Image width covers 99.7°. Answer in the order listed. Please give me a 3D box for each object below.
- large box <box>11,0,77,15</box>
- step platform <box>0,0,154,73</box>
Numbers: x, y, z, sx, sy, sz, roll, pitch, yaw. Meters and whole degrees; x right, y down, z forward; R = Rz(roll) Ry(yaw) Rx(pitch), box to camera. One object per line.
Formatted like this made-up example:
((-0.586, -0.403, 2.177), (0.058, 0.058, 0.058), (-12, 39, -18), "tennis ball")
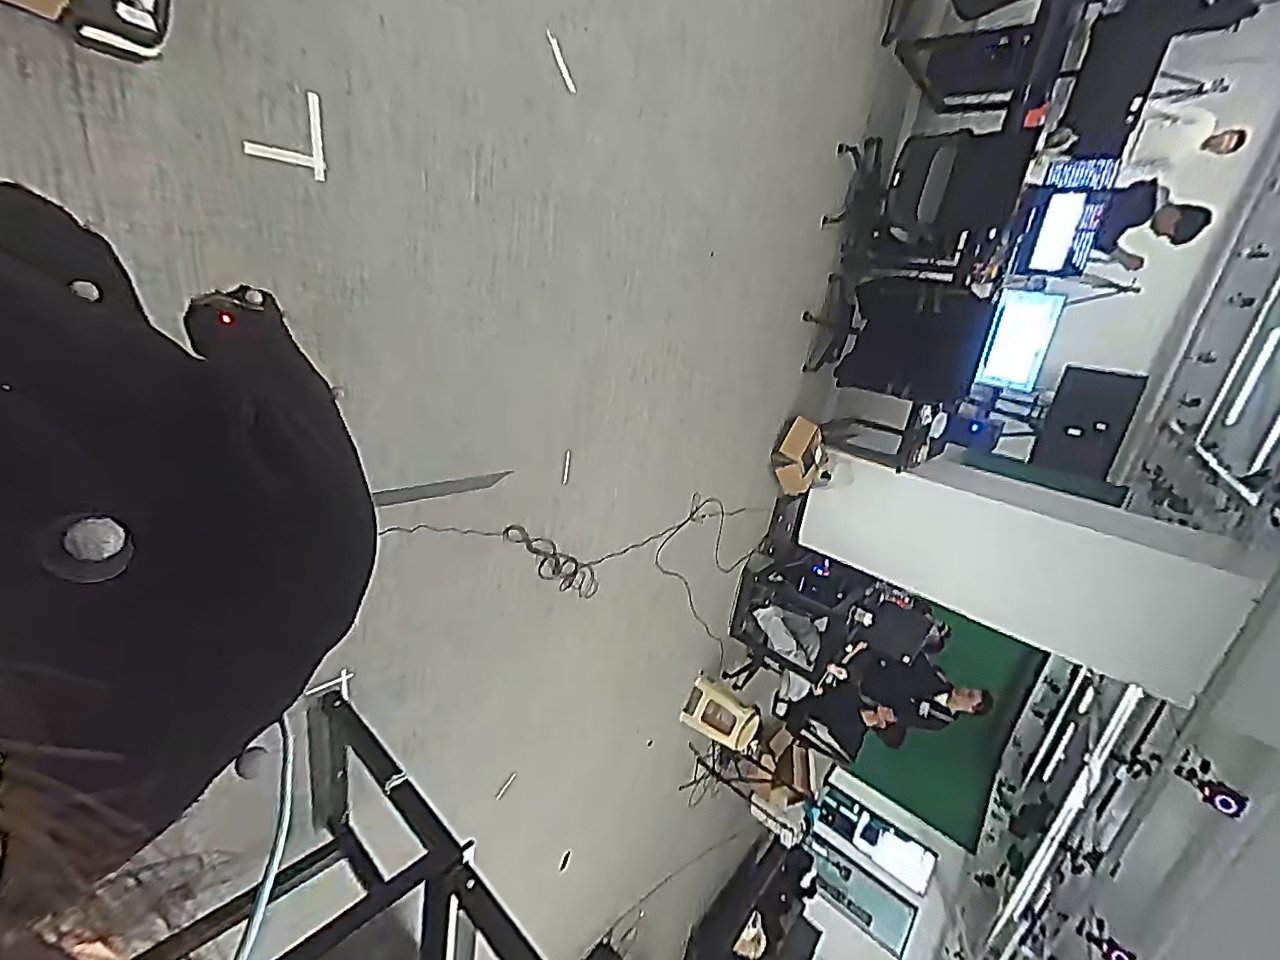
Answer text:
((-0.840, -0.748, 0.518), (0.408, 0.320, 0.320), (-8, 114, -49), "large box")
((-1.034, -0.811, 0.644), (0.684, 0.204, 0.286), (-5, 113, -50), "step platform")
